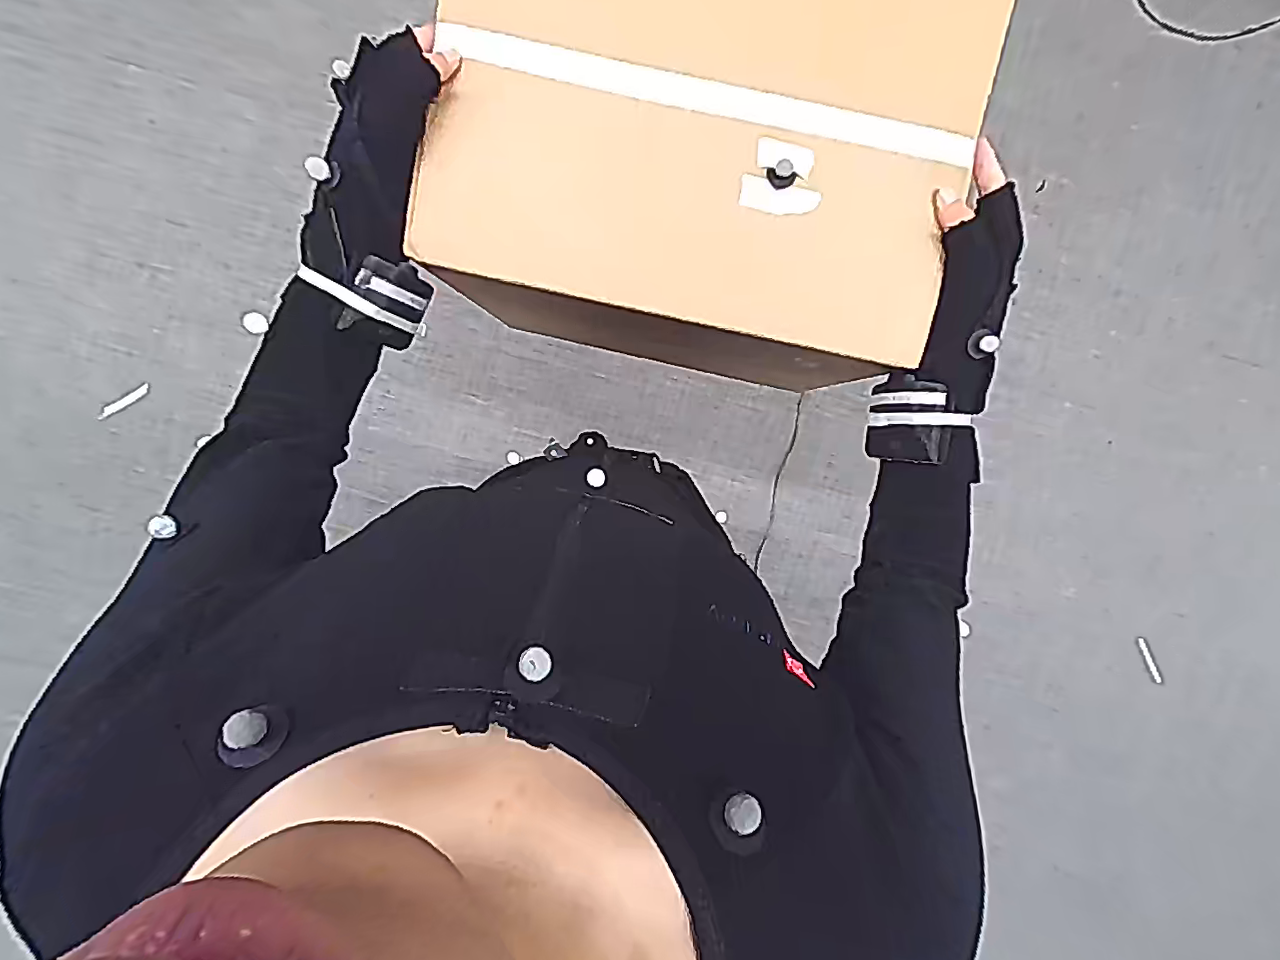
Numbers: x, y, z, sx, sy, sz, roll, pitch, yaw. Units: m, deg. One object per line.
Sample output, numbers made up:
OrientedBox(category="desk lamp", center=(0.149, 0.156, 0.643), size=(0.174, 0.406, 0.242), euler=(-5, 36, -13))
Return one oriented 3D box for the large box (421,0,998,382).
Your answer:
OrientedBox(category="large box", center=(0.050, -0.302, 0.557), size=(0.408, 0.320, 0.320), euler=(12, 96, -1))
